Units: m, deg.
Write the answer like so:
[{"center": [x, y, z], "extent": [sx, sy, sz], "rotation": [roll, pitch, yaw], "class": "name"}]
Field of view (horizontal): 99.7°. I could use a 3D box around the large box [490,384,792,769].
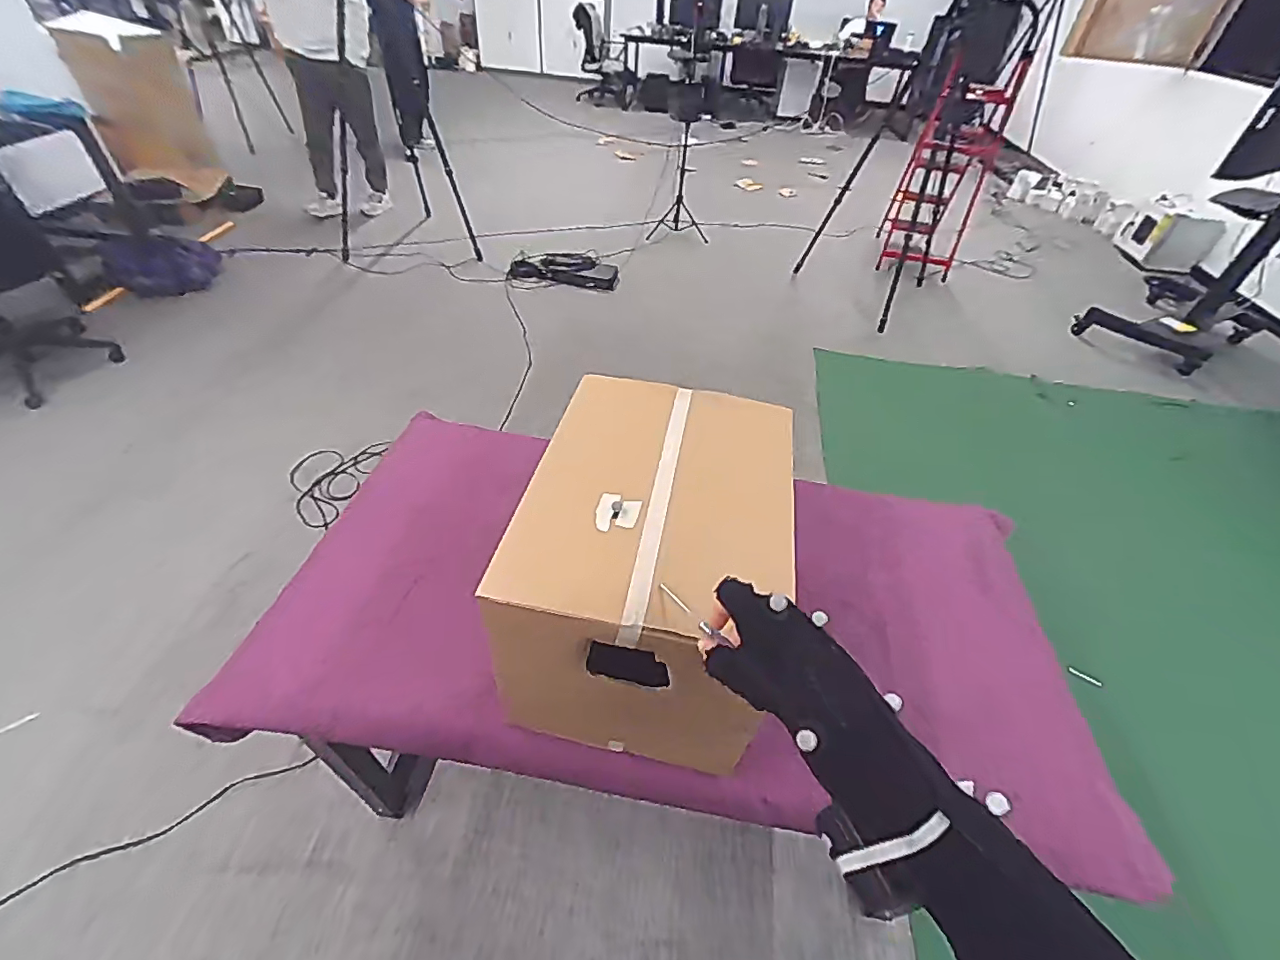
[{"center": [0.018, 0.124, 0.772], "extent": [0.320, 0.320, 0.408], "rotation": [11, 45, 5], "class": "large box"}]
